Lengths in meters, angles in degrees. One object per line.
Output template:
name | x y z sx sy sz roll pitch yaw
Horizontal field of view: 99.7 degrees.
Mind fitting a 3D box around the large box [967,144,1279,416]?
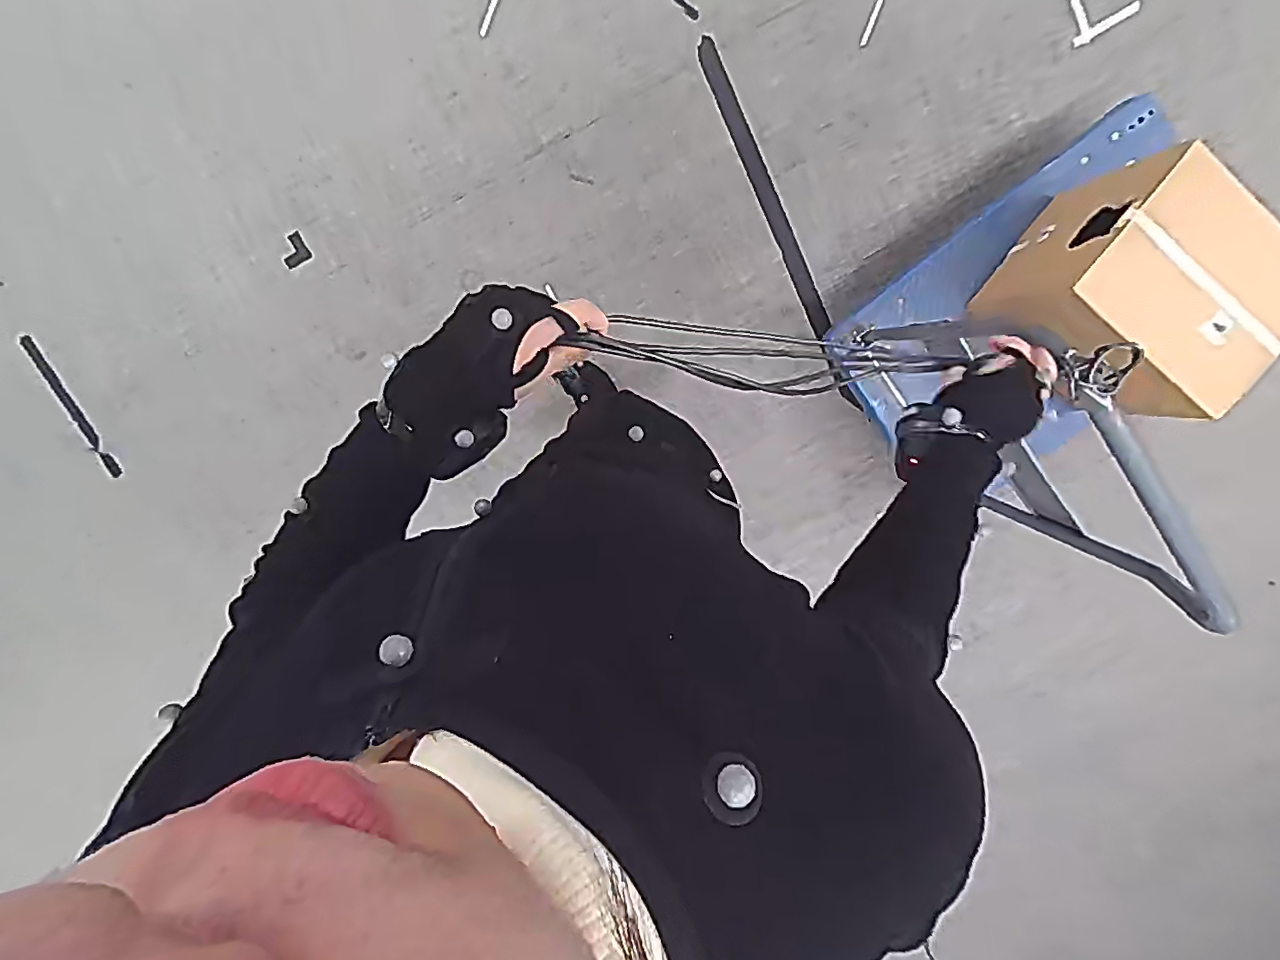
large box | 1.007 -0.379 1.123 0.408 0.320 0.320 35 98 -9
